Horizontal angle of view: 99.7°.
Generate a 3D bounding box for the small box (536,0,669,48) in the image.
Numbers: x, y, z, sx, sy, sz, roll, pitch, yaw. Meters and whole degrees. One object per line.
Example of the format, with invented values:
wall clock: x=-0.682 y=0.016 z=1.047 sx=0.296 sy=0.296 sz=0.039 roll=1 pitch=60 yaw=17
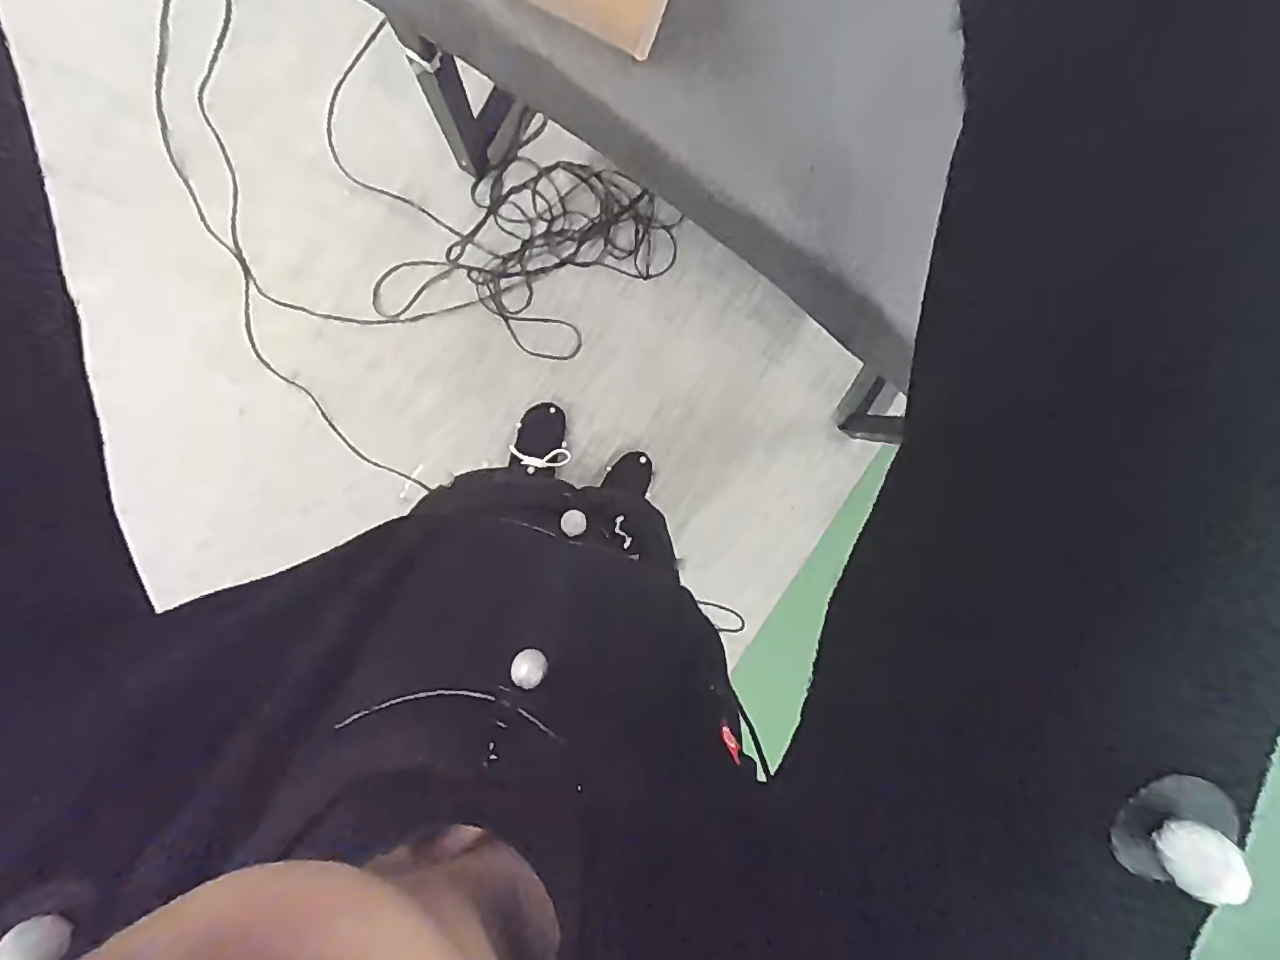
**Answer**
small box: x=-0.029 y=-0.535 z=0.472 sx=0.179 sy=0.176 sz=0.168 roll=21 pitch=94 yaw=-11
